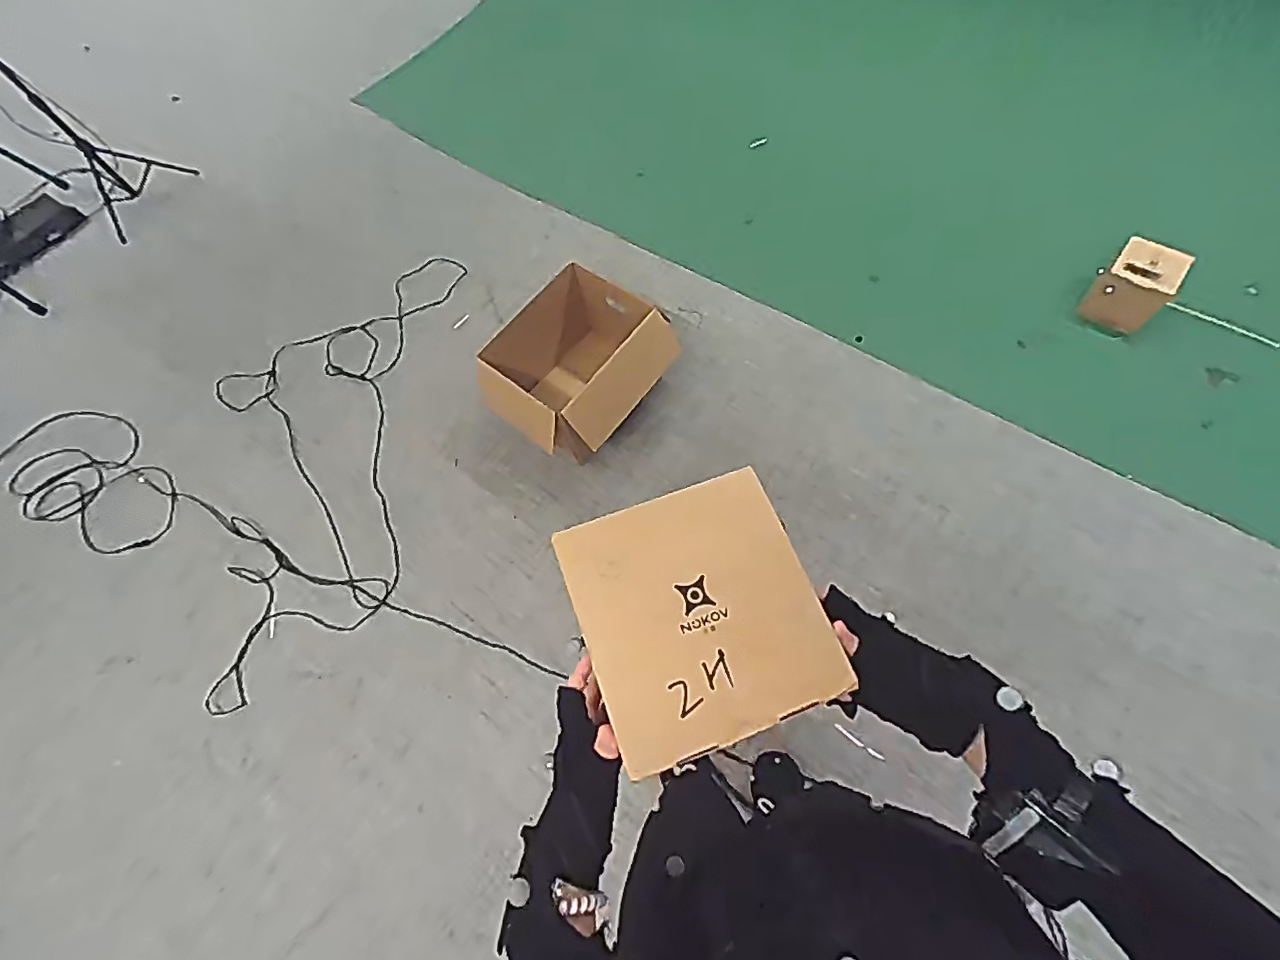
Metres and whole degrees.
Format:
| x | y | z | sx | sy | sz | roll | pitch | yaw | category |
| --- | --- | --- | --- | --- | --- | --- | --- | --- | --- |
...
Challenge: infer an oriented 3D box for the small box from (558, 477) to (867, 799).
| x | y | z | sx | sy | sz | roll | pitch | yaw | category |
| --- | --- | --- | --- | --- | --- | --- | --- | --- | --- |
| 0.041 | 0.126 | 0.440 | 0.168 | 0.176 | 0.179 | -18 | 69 | -8 | small box |
